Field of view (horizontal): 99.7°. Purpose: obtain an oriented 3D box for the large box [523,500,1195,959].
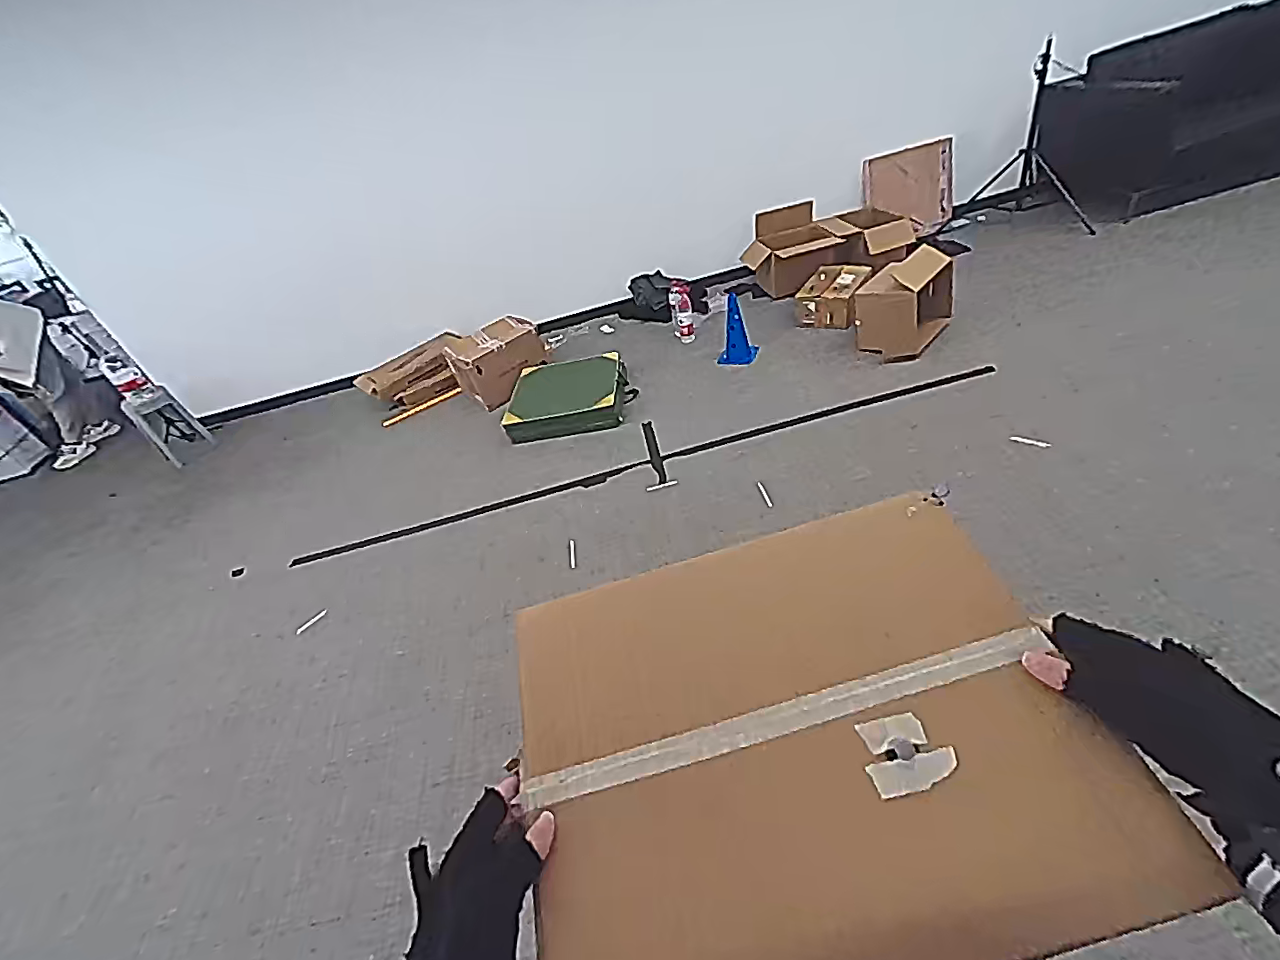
[{"bbox_3d":[0.138,0.281,0.527,0.408,0.320,0.320,-17,48,0],"label":"large box"}]
